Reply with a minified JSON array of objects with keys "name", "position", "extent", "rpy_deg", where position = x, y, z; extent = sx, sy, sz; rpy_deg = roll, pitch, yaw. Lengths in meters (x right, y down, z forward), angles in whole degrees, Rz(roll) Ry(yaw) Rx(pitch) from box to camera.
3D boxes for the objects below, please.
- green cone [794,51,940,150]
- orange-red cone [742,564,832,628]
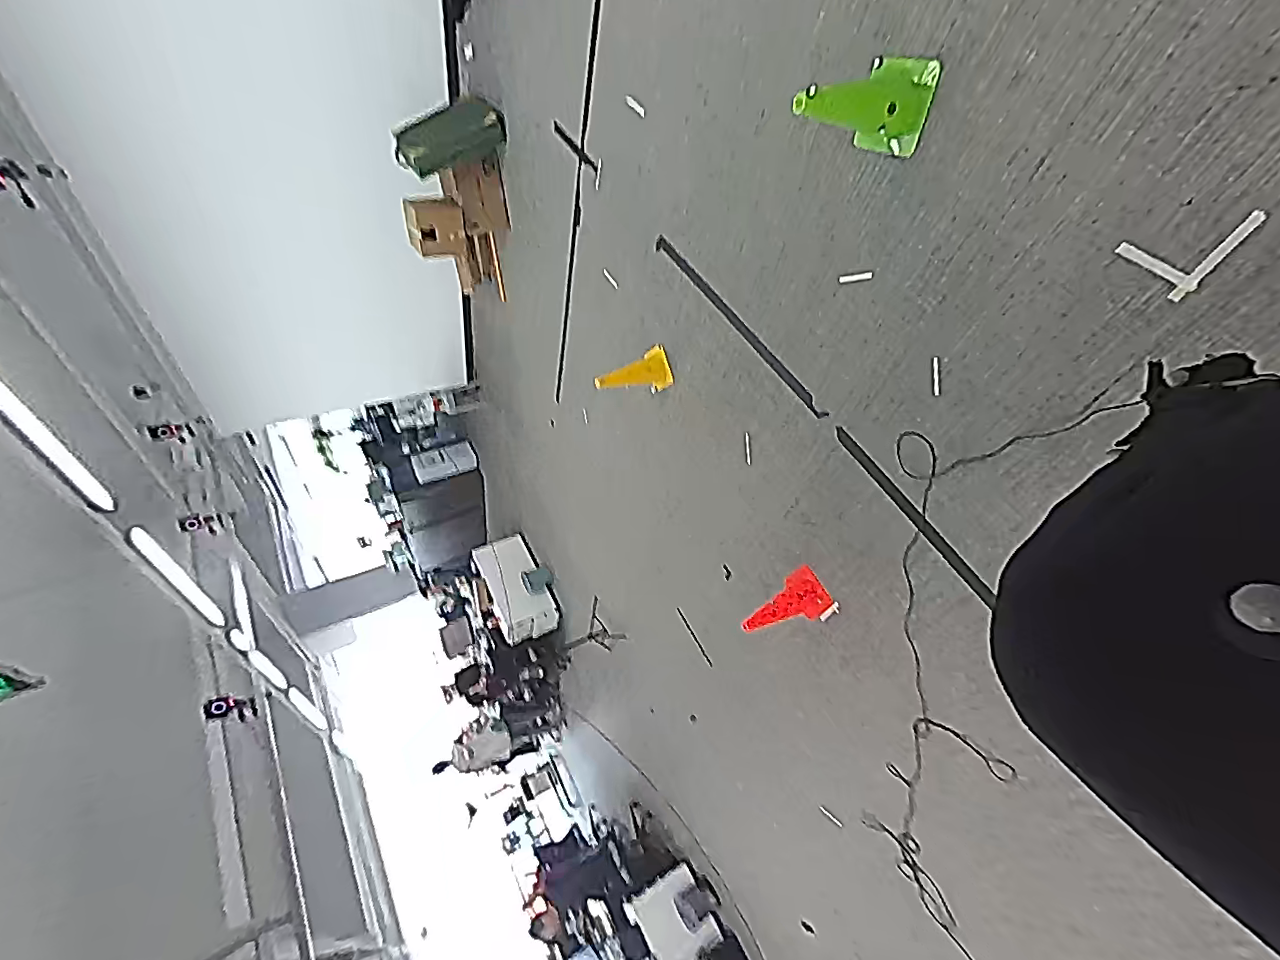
[{"name":"green cone","position":[0.515,-0.932,1.327],"extent":[0.202,0.368,0.200],"rpy_deg":[45,145,40]},{"name":"orange-red cone","position":[0.561,0.515,2.196],"extent":[0.199,0.360,0.198],"rpy_deg":[62,152,21]}]
